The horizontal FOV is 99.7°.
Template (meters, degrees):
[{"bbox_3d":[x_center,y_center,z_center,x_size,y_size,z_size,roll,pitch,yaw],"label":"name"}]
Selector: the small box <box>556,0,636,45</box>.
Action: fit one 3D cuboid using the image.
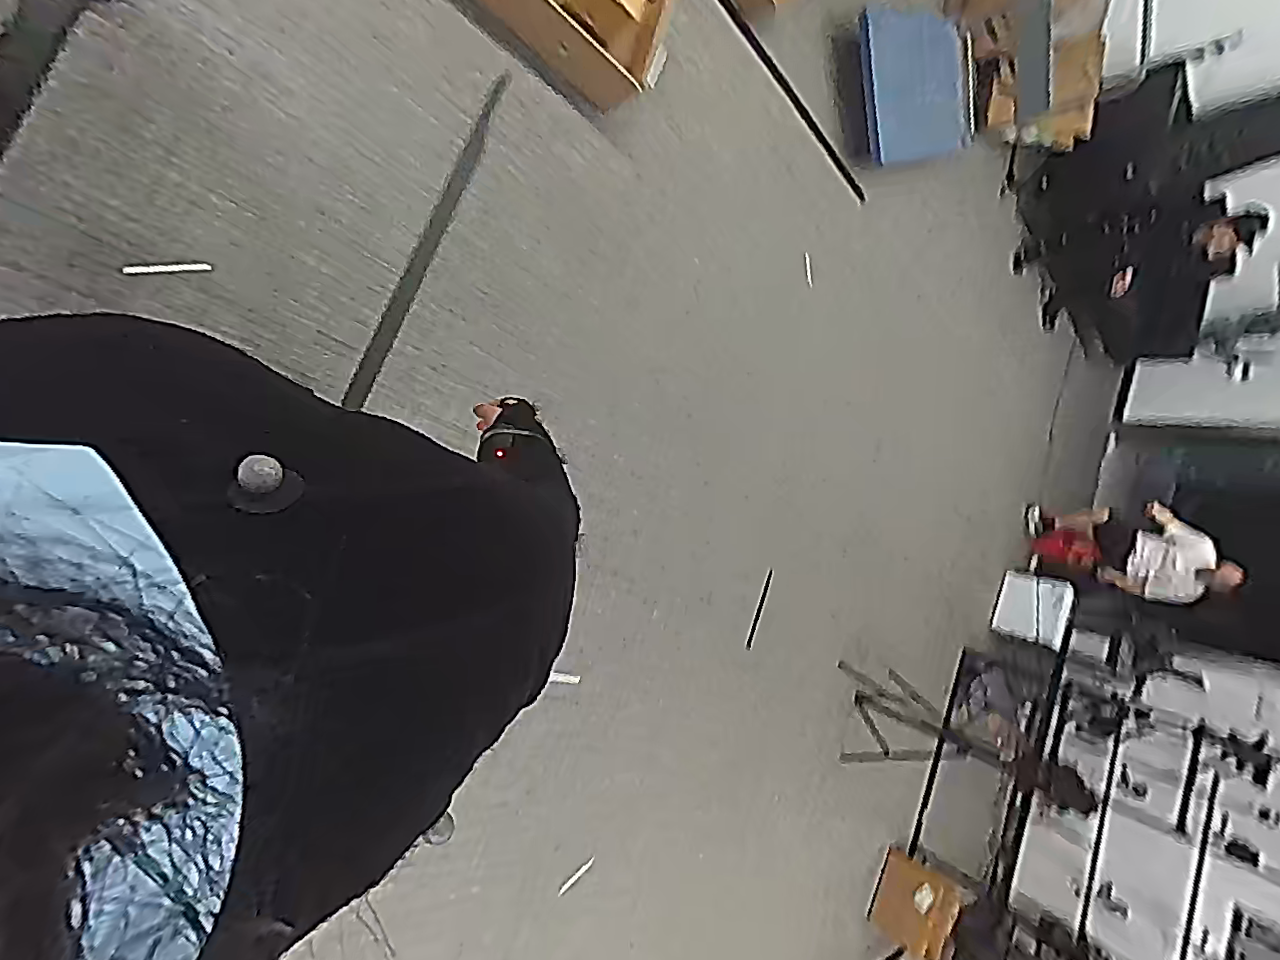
[{"bbox_3d":[-0.111,-1.377,1.496,0.168,0.176,0.179,20,84,-38],"label":"small box"}]
